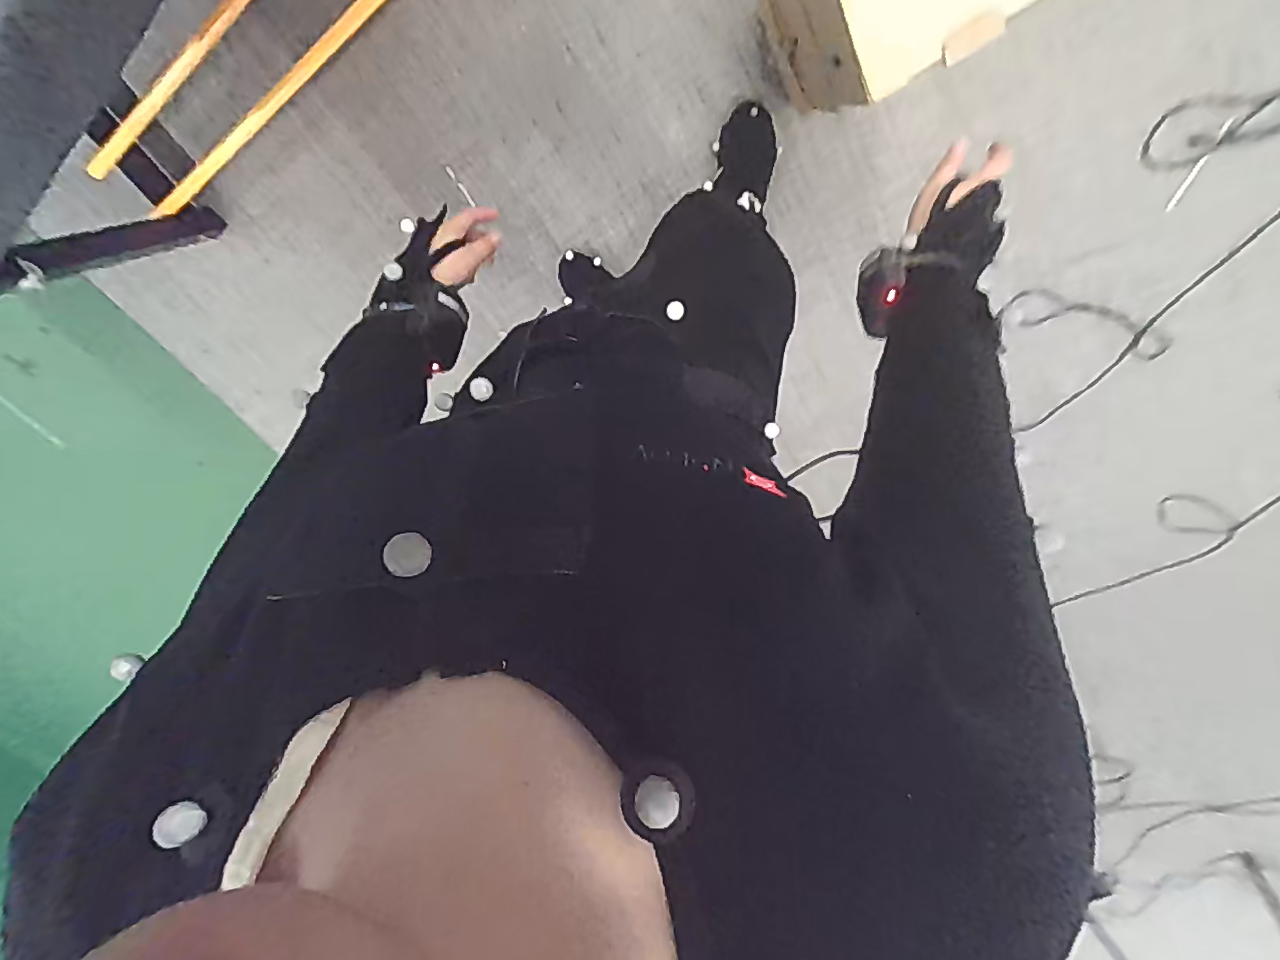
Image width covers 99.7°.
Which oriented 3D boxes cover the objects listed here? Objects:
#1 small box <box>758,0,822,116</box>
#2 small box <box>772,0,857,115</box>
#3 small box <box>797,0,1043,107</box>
[{"bbox_3d":[0.272,-0.636,0.746,0.179,0.176,0.168,-25,117,22],"label":"small box"},{"bbox_3d":[0.254,-0.550,0.607,0.168,0.176,0.179,-24,119,21],"label":"small box"},{"bbox_3d":[0.234,-0.464,0.471,0.168,0.176,0.179,-25,117,22],"label":"small box"}]
